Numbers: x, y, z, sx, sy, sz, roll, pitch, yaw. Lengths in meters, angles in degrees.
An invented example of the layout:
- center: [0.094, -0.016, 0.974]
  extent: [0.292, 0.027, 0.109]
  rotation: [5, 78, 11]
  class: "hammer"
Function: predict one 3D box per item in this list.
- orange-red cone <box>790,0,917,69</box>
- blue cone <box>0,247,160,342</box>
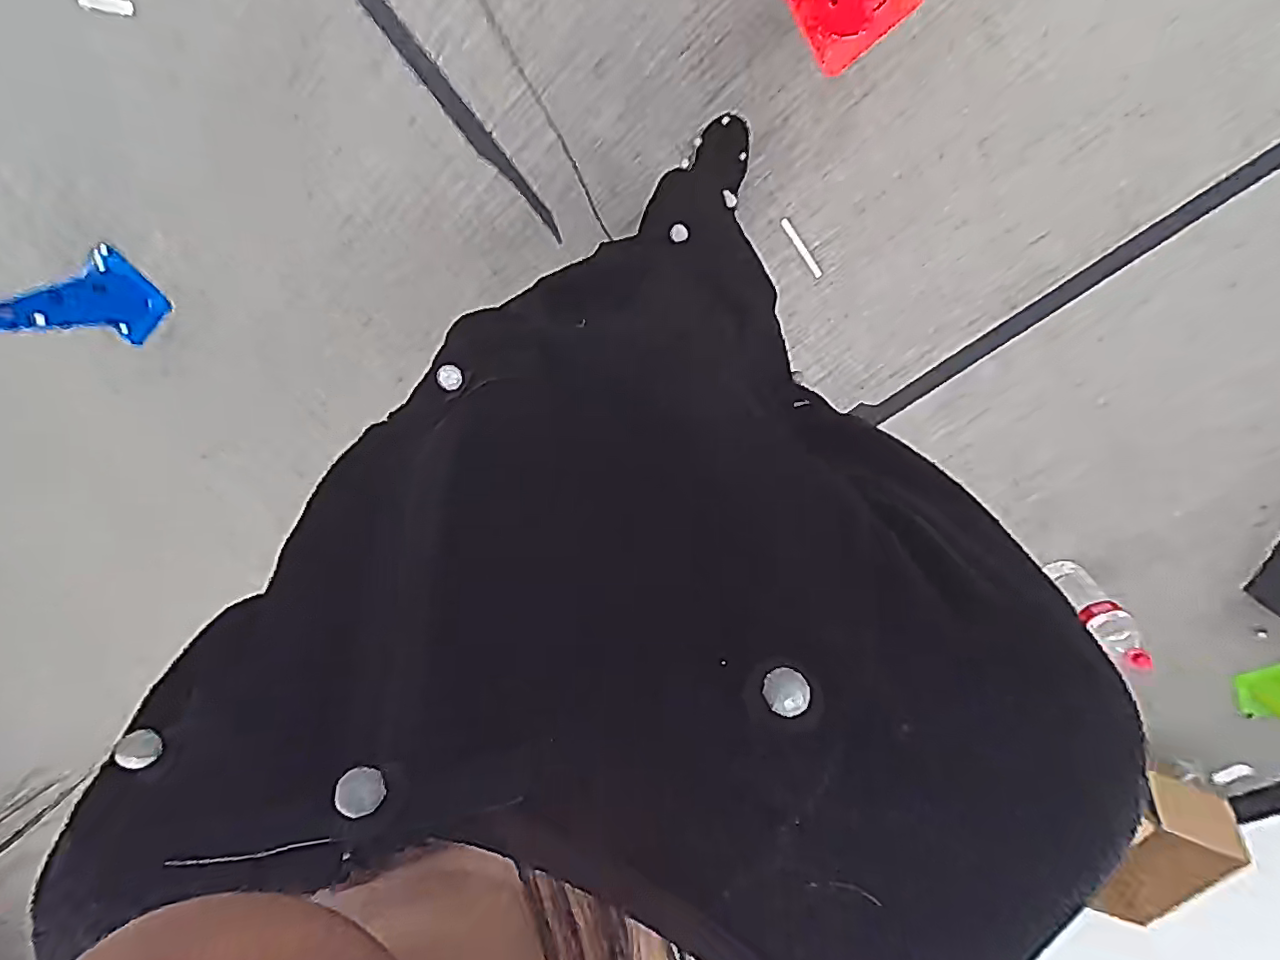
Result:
- center: [0.366, -0.822, 0.830]
  extent: [0.198, 0.360, 0.199]
  rotation: [-31, 110, 20]
  class: "orange-red cone"
- center: [-1.379, -0.403, 1.263]
  extent: [0.193, 0.380, 0.192]
  rotation: [-32, 109, 20]
  class: "blue cone"
